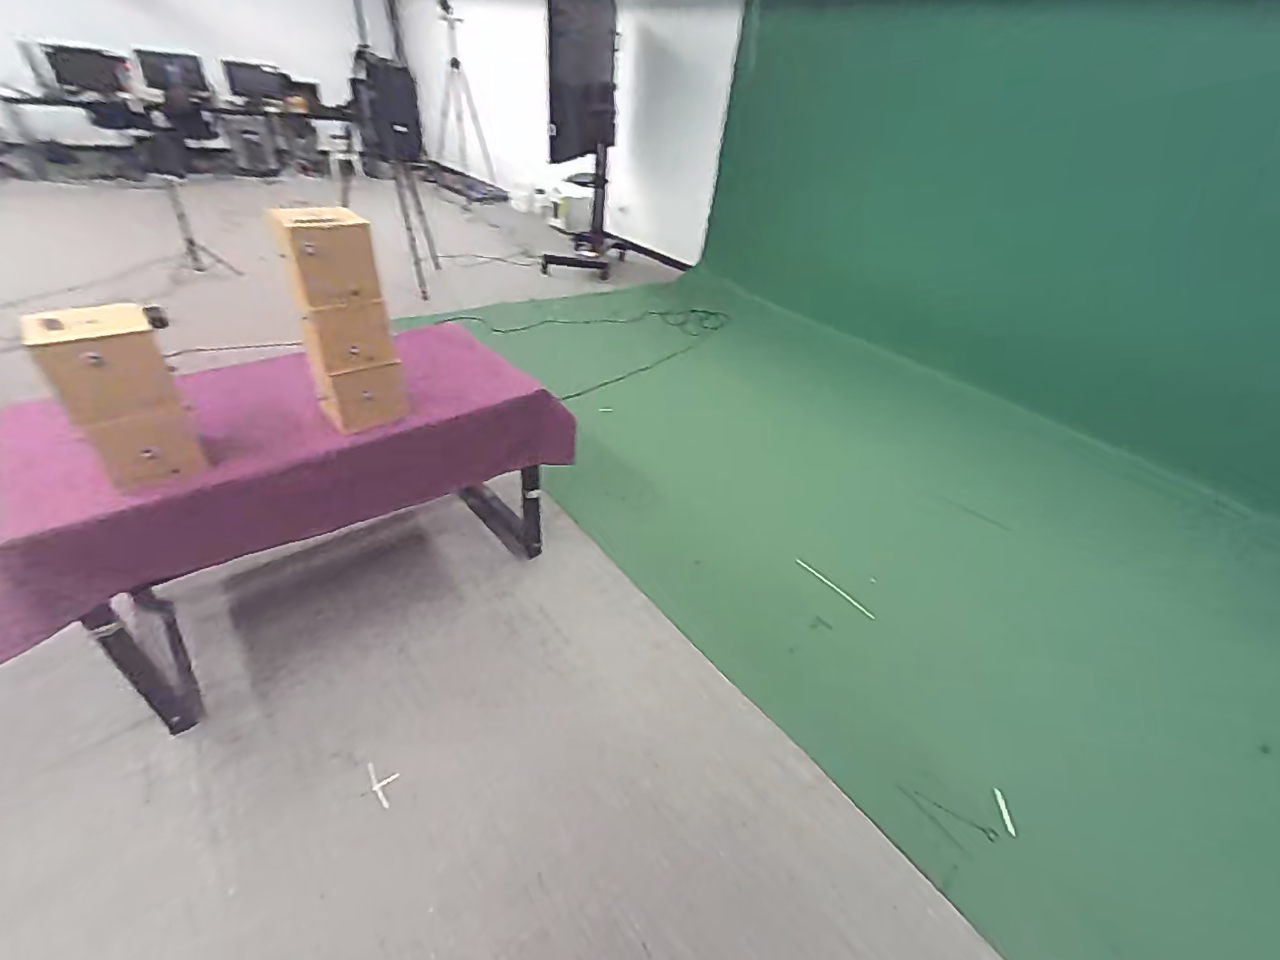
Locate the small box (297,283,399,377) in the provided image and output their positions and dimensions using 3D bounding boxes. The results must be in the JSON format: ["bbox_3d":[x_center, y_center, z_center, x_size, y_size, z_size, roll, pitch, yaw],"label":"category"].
[{"bbox_3d":[-0.723,-0.376,1.347,0.168,0.176,0.179,-23,46,-35],"label":"small box"}]

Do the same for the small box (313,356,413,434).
[{"bbox_3d":[-0.731,-0.243,1.441,0.179,0.176,0.168,-26,47,-35],"label":"small box"}]

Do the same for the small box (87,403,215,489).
[{"bbox_3d":[-1.071,-0.099,1.187,0.168,0.176,0.179,-23,45,-36],"label":"small box"}]

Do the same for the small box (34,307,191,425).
[{"bbox_3d":[-1.055,-0.230,1.090,0.179,0.176,0.168,-24,46,-36],"label":"small box"}]
